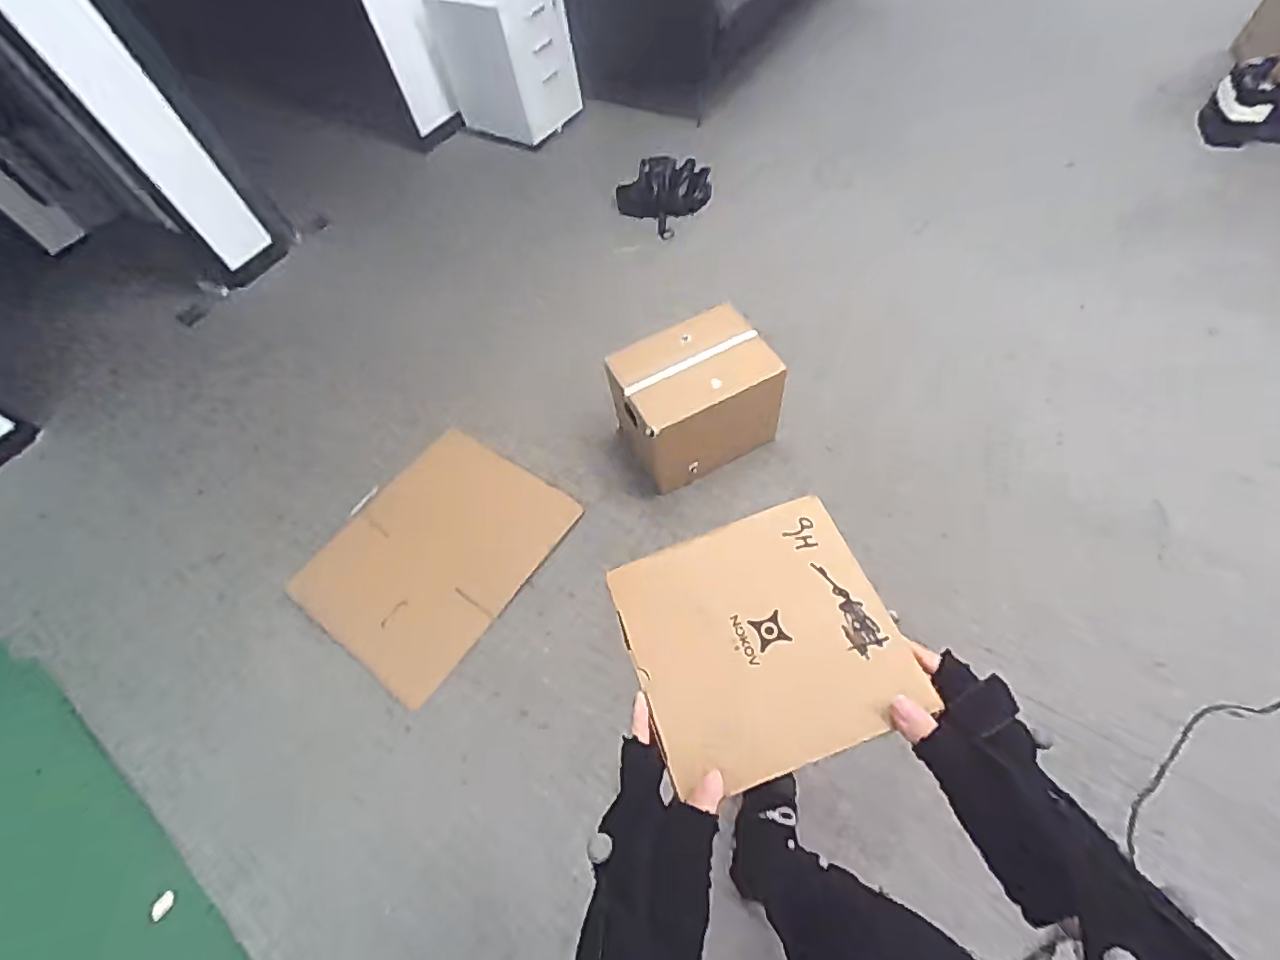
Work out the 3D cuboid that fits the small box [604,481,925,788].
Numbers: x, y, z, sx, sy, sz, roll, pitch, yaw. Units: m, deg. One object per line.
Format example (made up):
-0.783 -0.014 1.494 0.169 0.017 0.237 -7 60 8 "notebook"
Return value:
0.091 0.136 0.450 0.179 0.176 0.168 -22 57 -4 "small box"
